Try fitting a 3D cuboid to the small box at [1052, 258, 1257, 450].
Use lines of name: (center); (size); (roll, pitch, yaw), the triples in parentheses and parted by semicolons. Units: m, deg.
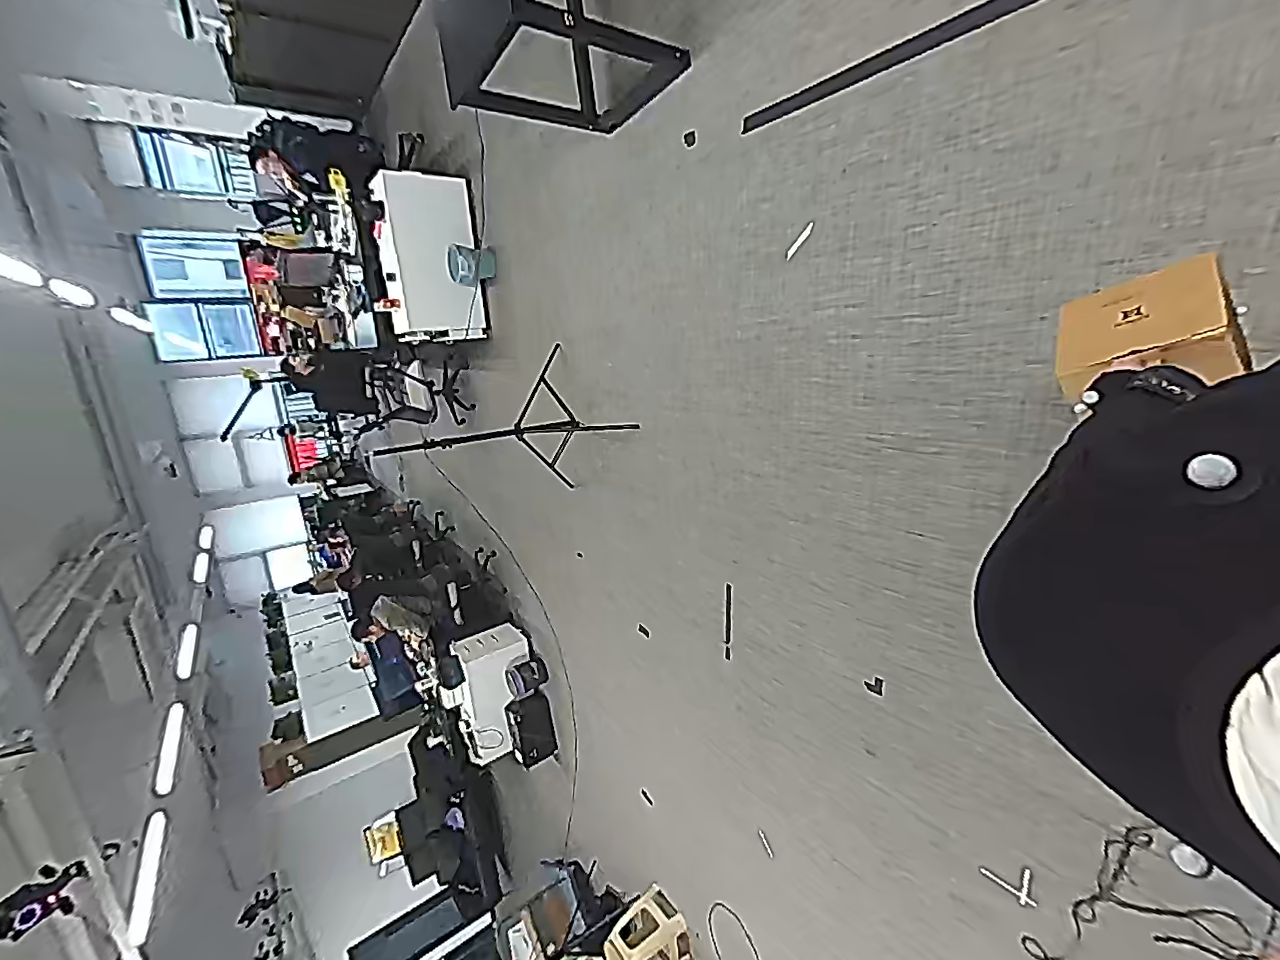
small box: (0.701, -0.158, 0.743); (0.176, 0.179, 0.168); (47, 146, -20)
